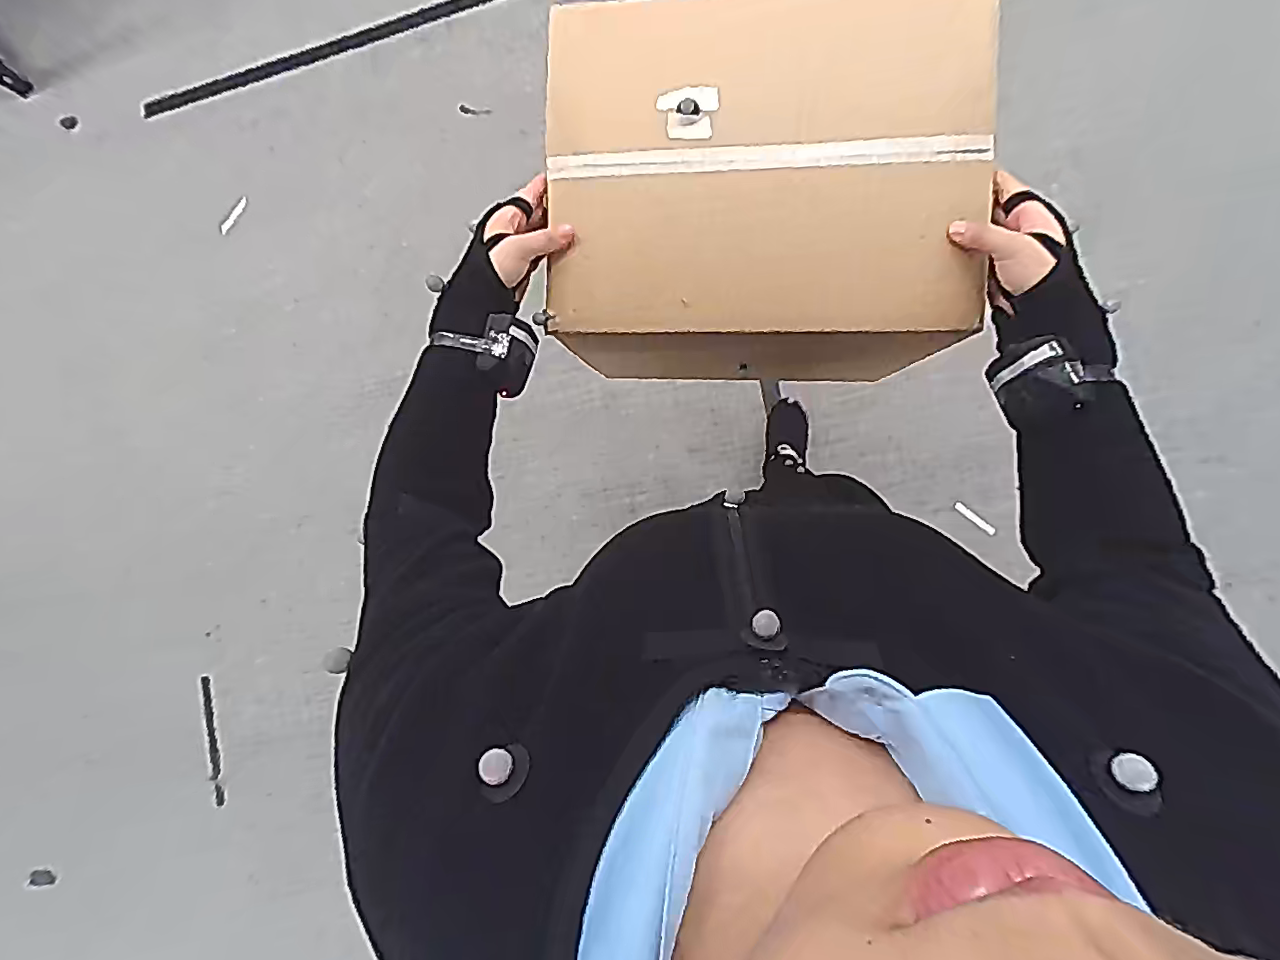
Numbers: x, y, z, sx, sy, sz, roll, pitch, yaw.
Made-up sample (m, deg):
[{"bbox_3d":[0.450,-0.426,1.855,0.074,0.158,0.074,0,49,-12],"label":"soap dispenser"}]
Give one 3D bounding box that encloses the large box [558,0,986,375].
[{"bbox_3d":[0.137,-0.306,0.663,0.408,0.320,0.320,1,91,8],"label":"large box"}]
